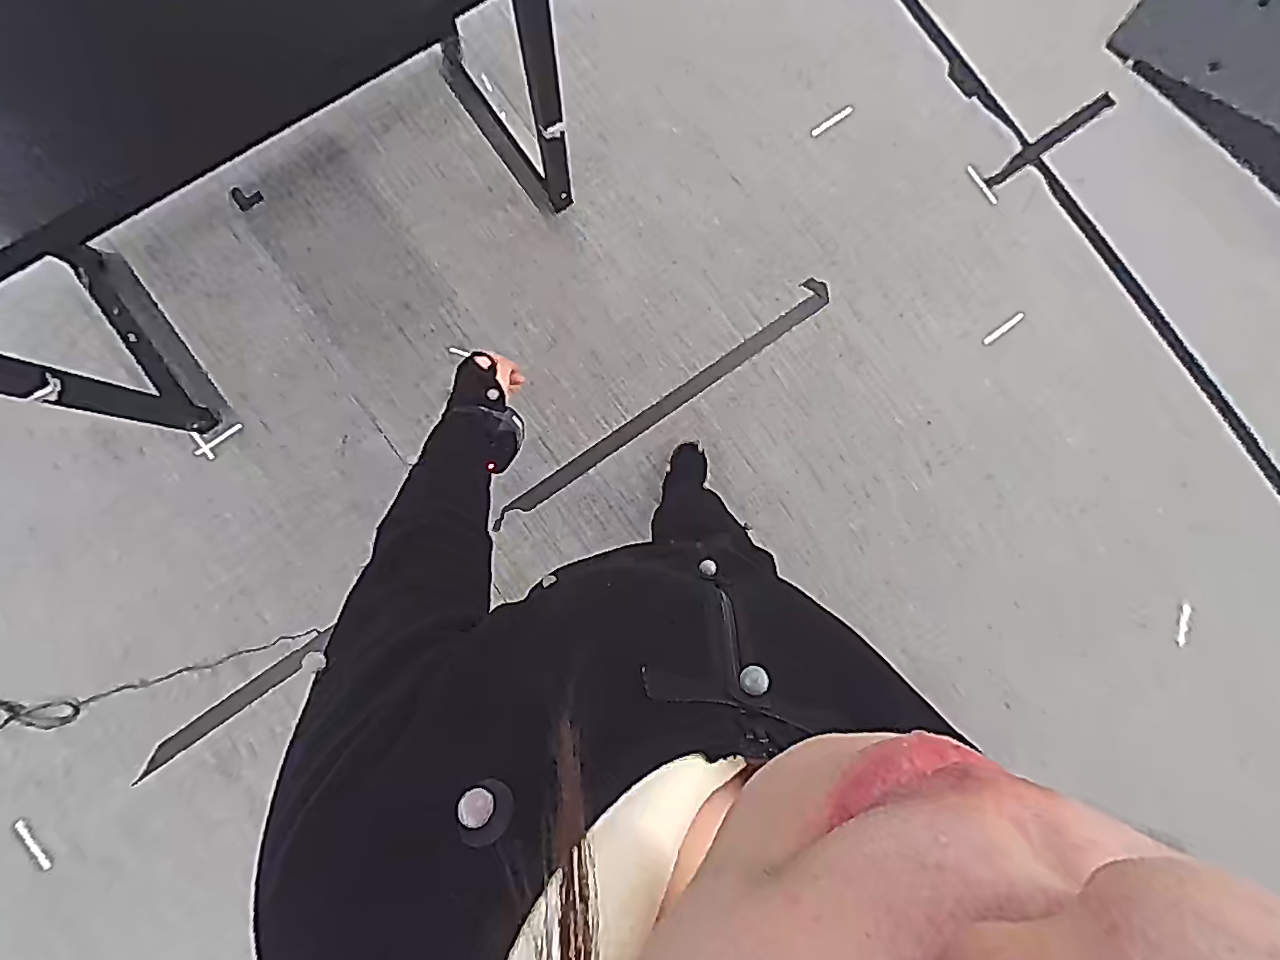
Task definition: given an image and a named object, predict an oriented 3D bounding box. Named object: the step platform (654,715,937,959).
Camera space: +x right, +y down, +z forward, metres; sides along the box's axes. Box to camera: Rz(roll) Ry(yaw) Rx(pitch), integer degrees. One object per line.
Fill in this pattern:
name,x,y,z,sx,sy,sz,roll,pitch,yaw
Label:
step platform,0.383,0.904,1.363,0.684,0.204,0.286,-30,88,-6
